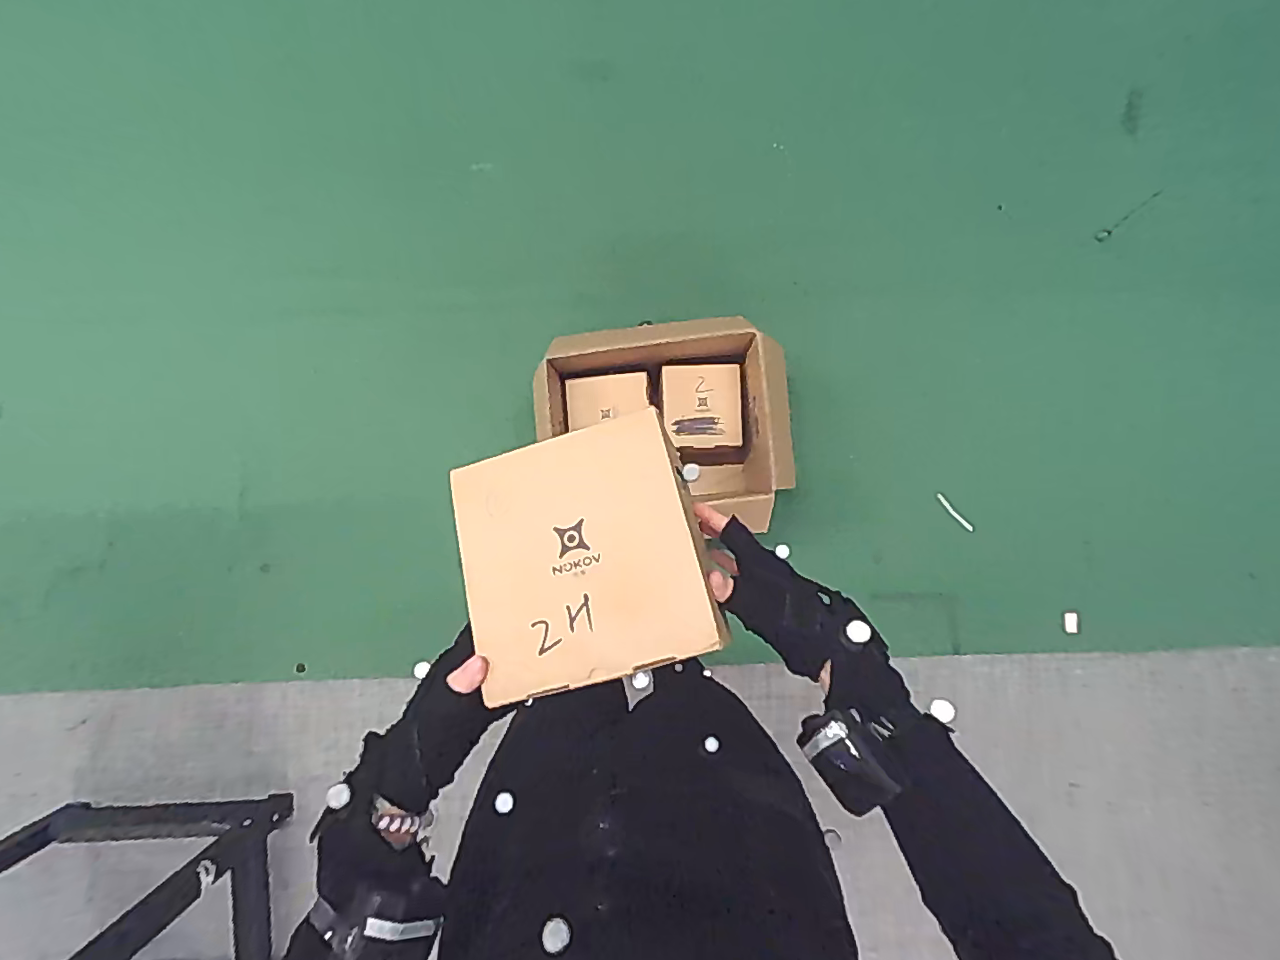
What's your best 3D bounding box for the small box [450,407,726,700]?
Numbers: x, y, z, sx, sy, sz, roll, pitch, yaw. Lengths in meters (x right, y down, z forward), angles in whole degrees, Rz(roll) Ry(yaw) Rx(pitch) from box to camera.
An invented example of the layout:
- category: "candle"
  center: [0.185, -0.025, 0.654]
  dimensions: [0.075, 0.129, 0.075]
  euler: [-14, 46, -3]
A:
- category: "small box"
  center: [-0.033, 0.069, 0.450]
  dimensions: [0.168, 0.176, 0.179]
  euler: [-17, 71, 8]
